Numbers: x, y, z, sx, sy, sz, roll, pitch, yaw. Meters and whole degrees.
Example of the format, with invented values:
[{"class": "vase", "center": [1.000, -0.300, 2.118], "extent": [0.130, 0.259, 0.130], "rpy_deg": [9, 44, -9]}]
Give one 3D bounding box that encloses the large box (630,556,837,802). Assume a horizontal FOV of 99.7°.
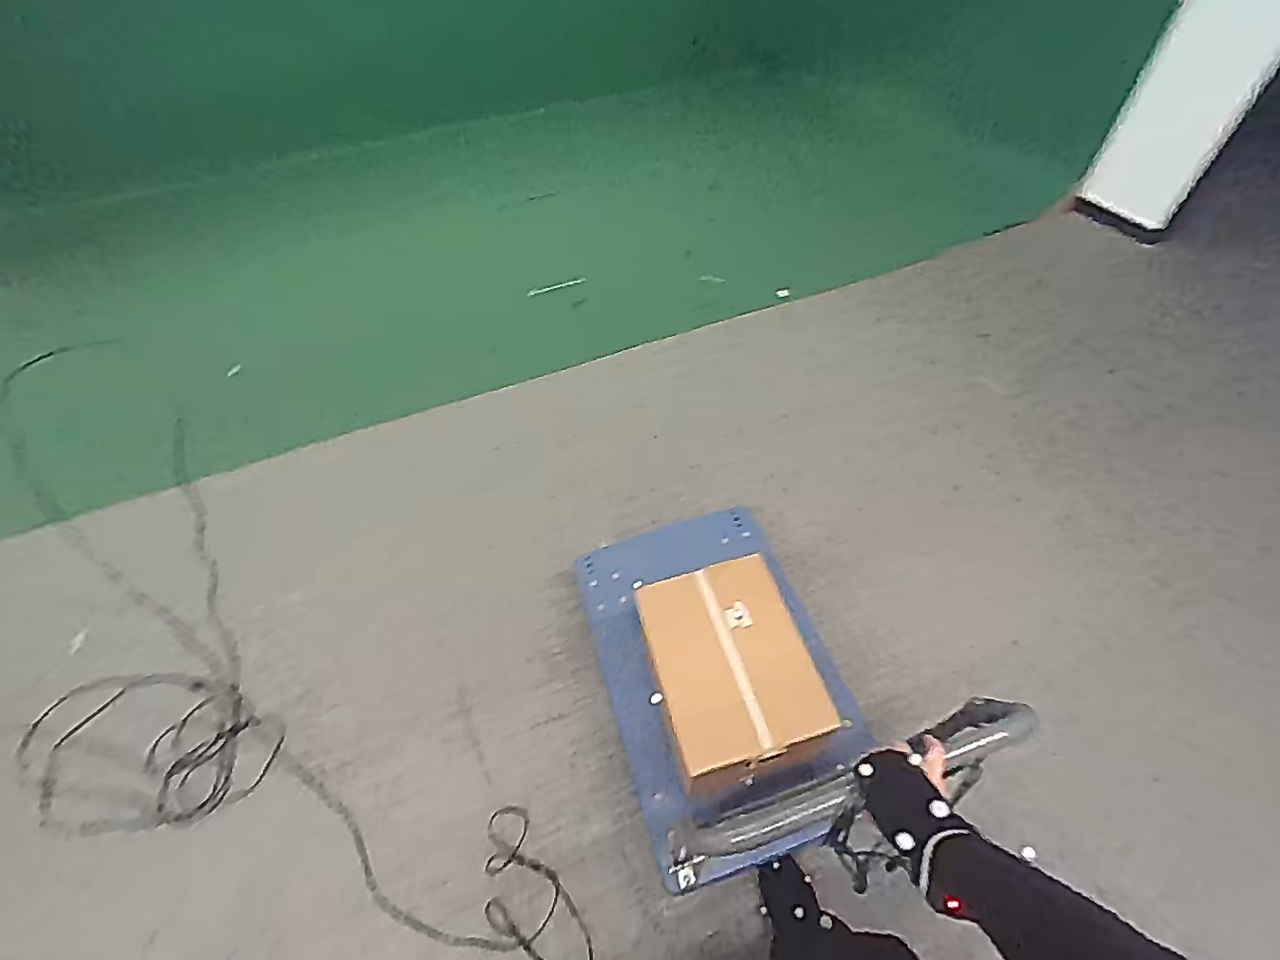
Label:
[{"class": "large box", "center": [0.189, 0.455, 1.247], "extent": [0.320, 0.320, 0.408], "rpy_deg": [-14, 52, -8]}]
